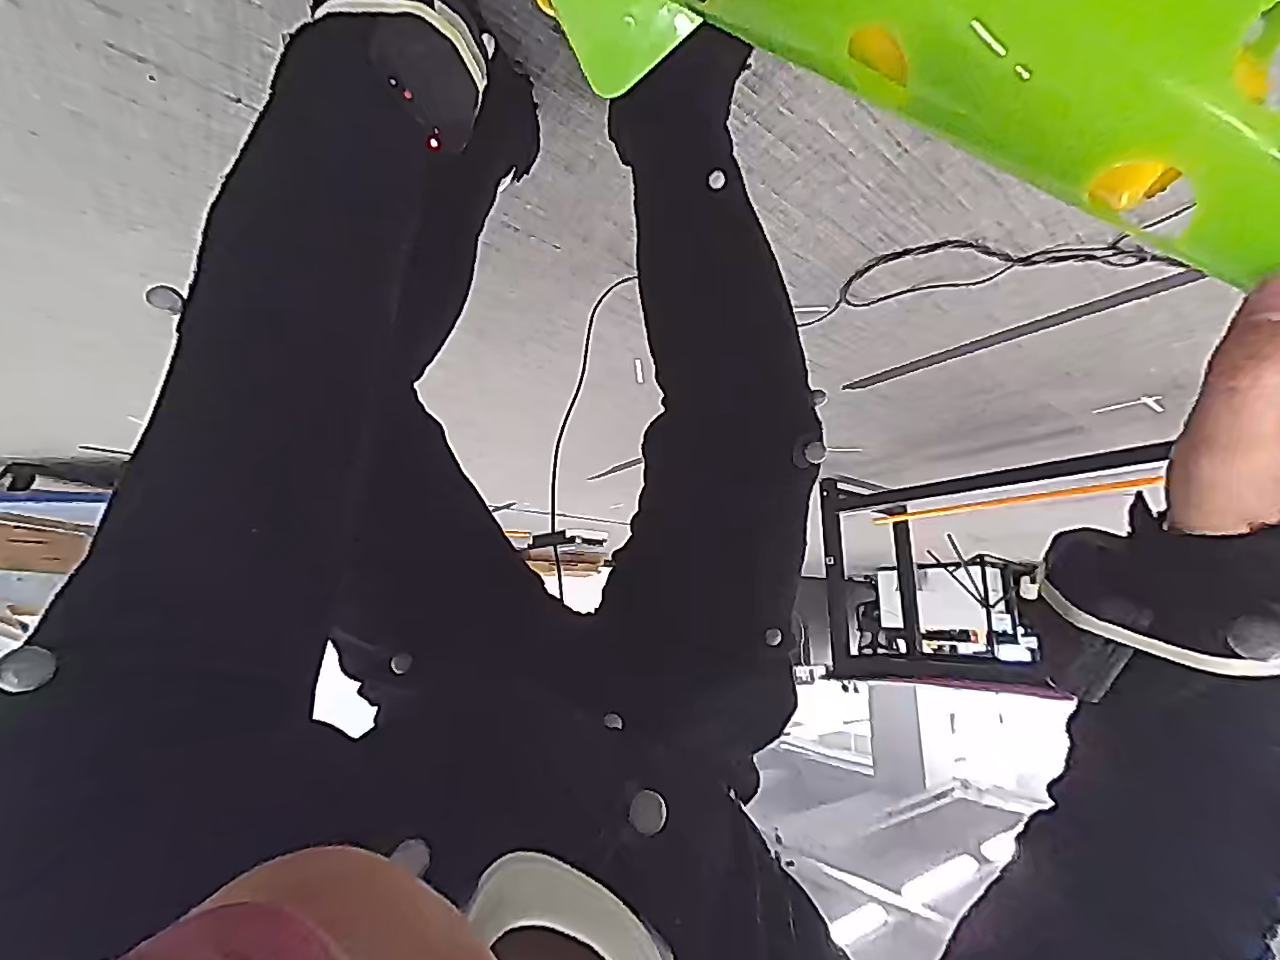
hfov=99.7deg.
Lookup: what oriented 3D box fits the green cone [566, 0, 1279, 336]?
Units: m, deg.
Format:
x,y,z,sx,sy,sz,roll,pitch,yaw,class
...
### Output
x,y,z,sx,sy,sz,roll,pitch,yaw,class
0.121,-0.183,0.193,0.202,0.368,0.200,-37,161,10,green cone
